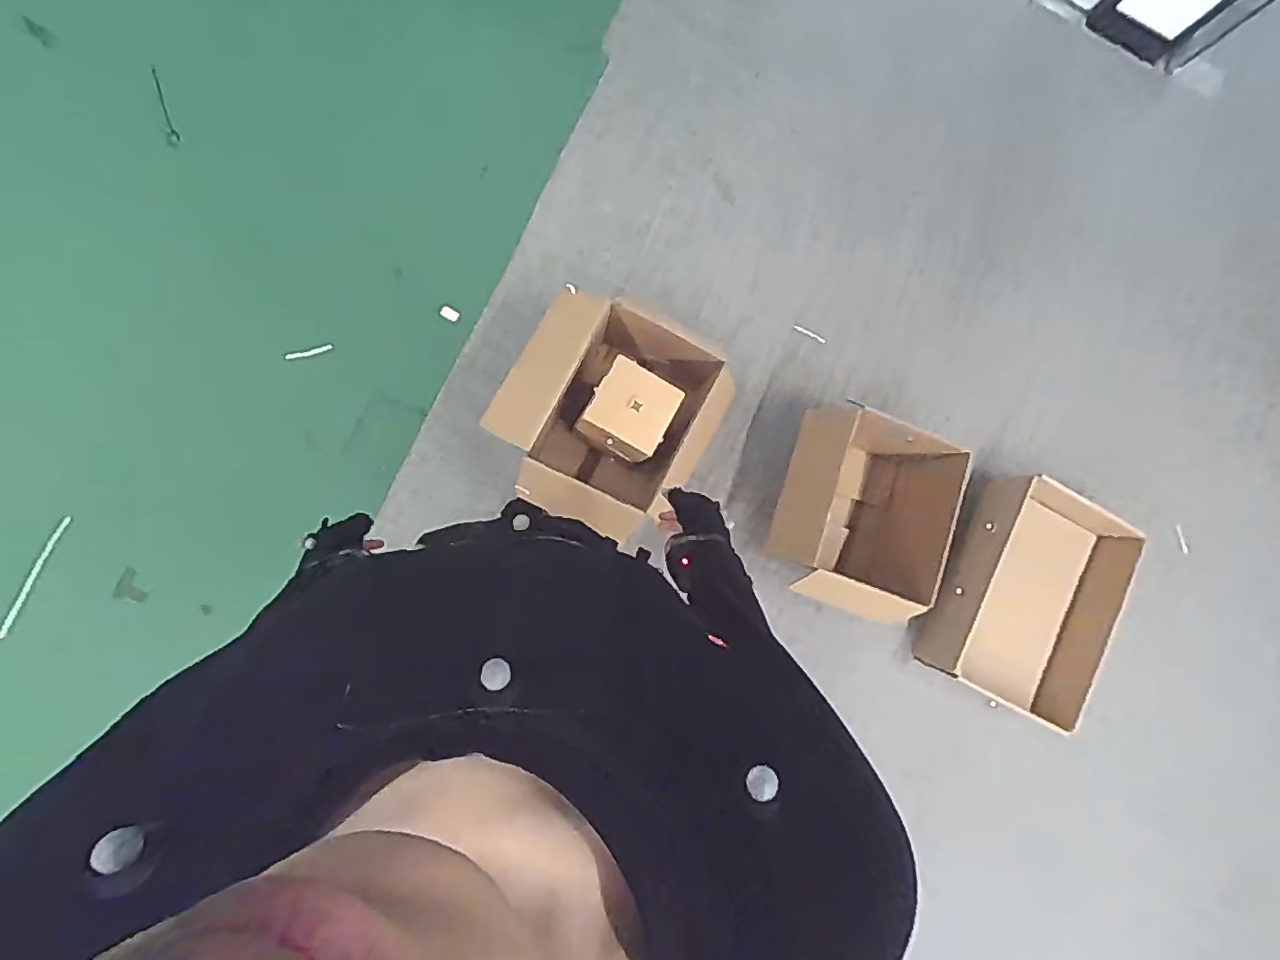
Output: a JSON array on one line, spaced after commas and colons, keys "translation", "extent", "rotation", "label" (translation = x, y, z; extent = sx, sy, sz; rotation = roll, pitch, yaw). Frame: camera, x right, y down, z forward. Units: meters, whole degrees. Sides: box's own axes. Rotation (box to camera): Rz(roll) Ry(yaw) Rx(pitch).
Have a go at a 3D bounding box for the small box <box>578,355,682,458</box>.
[{"translation": [-0.030, -0.162, 1.263], "extent": [0.179, 0.176, 0.168], "rotation": [29, 82, -6], "label": "small box"}]
